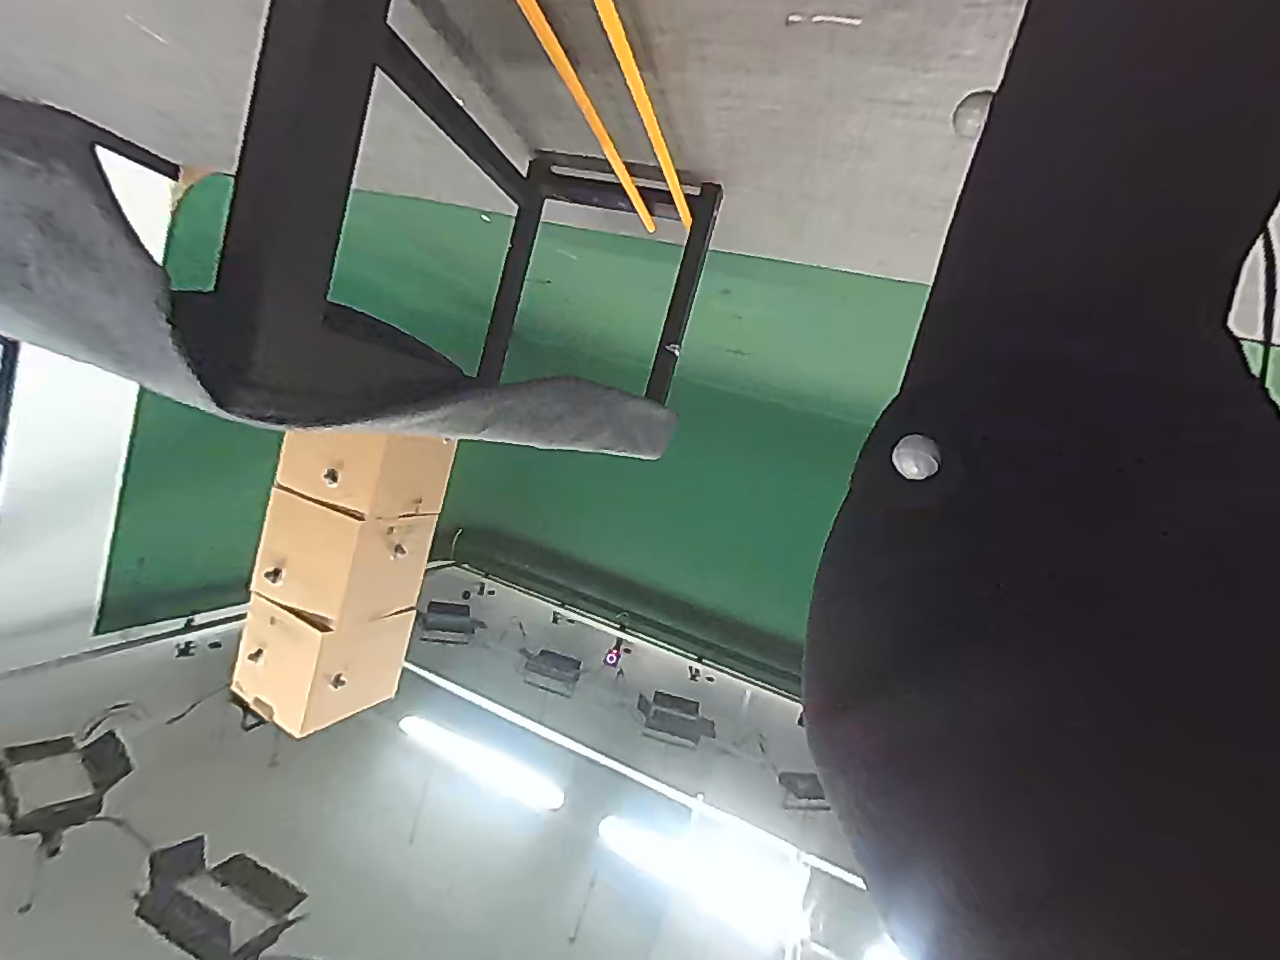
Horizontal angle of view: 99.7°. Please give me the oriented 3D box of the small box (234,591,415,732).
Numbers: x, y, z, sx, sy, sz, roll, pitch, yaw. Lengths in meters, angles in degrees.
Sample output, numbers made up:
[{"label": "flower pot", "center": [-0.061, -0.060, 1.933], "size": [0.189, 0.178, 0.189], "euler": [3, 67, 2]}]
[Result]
[{"label": "small box", "center": [-0.500, 0.262, 0.872], "size": [0.168, 0.176, 0.179], "euler": [20, -173, 22]}]

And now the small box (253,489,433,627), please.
[{"label": "small box", "center": [-0.460, 0.105, 0.857], "size": [0.179, 0.176, 0.168], "euler": [17, -174, 17]}]

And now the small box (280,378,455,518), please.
[{"label": "small box", "center": [-0.411, -0.052, 0.843], "size": [0.179, 0.176, 0.168], "euler": [18, -175, 15]}]
